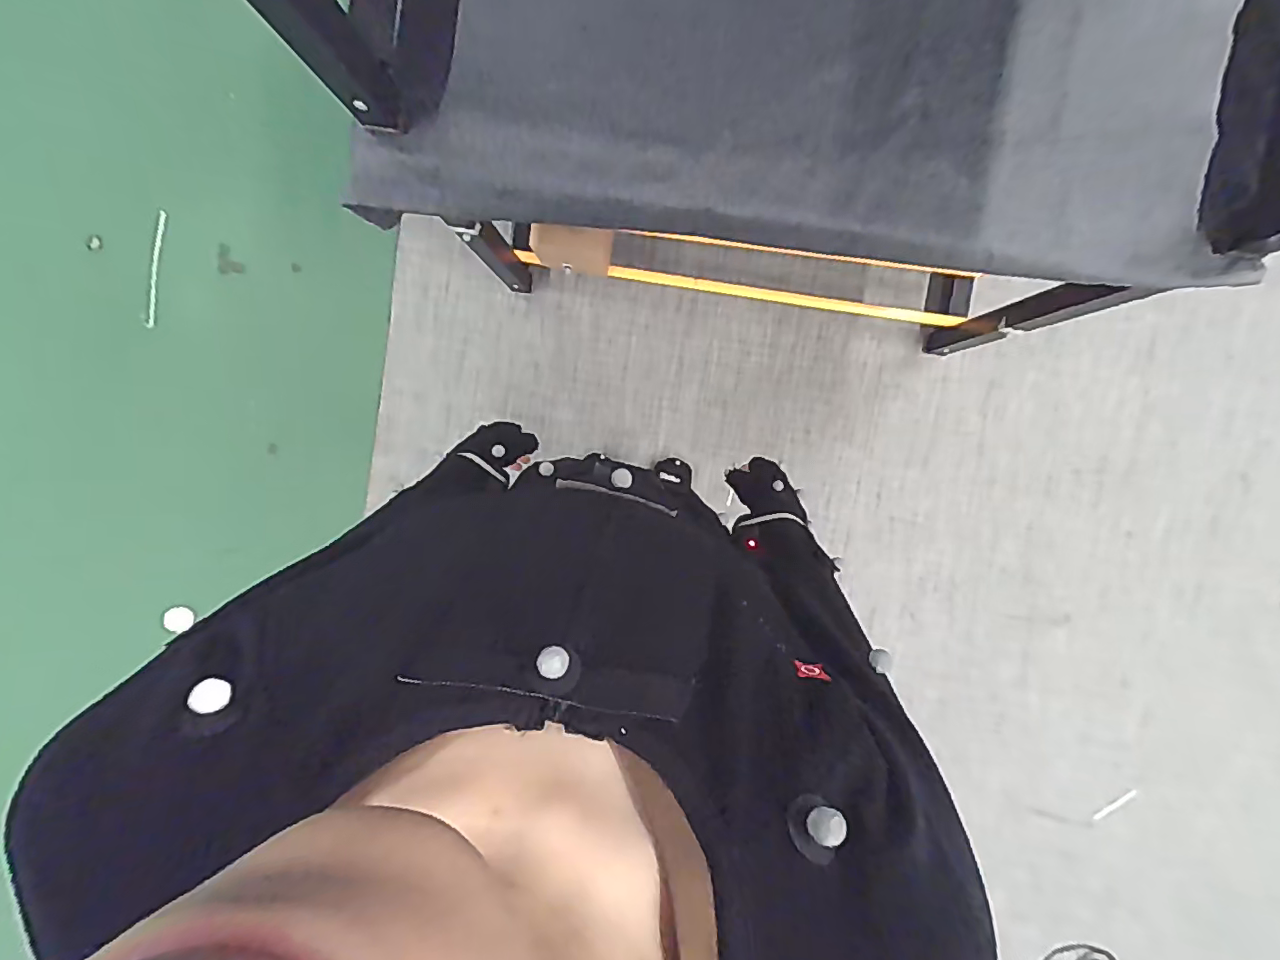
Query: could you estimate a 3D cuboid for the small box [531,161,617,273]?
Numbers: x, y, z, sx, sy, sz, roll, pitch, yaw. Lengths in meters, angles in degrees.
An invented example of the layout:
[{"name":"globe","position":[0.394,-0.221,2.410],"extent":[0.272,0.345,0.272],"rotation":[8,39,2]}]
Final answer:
[{"name":"small box","position":[-0.146,-0.601,1.255],"extent":[0.168,0.176,0.179],"rotation":[8,96,1]}]
